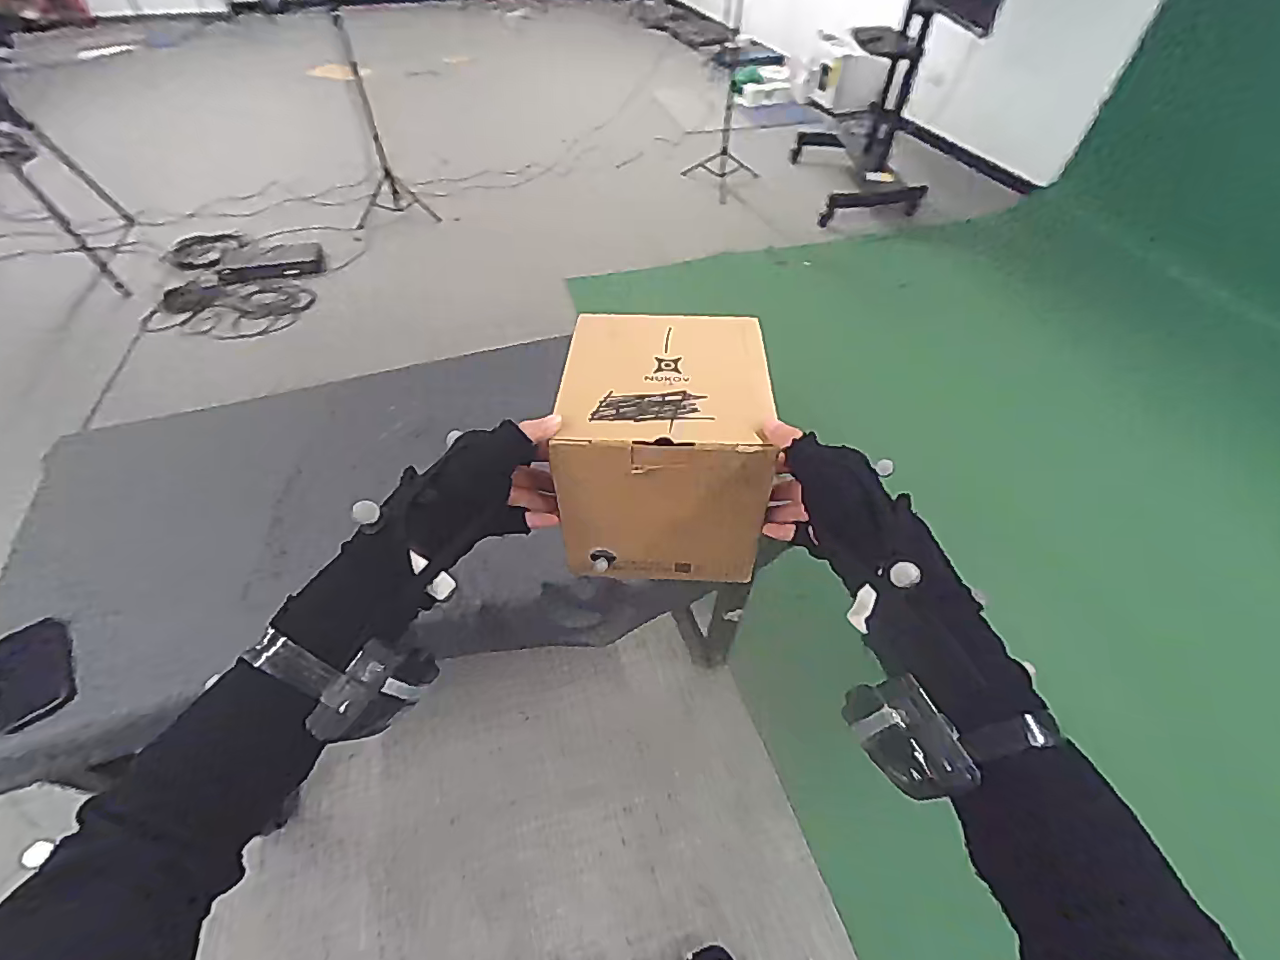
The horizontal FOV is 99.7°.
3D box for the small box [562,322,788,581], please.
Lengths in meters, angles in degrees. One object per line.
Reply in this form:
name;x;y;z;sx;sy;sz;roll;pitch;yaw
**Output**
small box;0.032;-0.025;0.498;0.168;0.176;0.179;3;45;3
